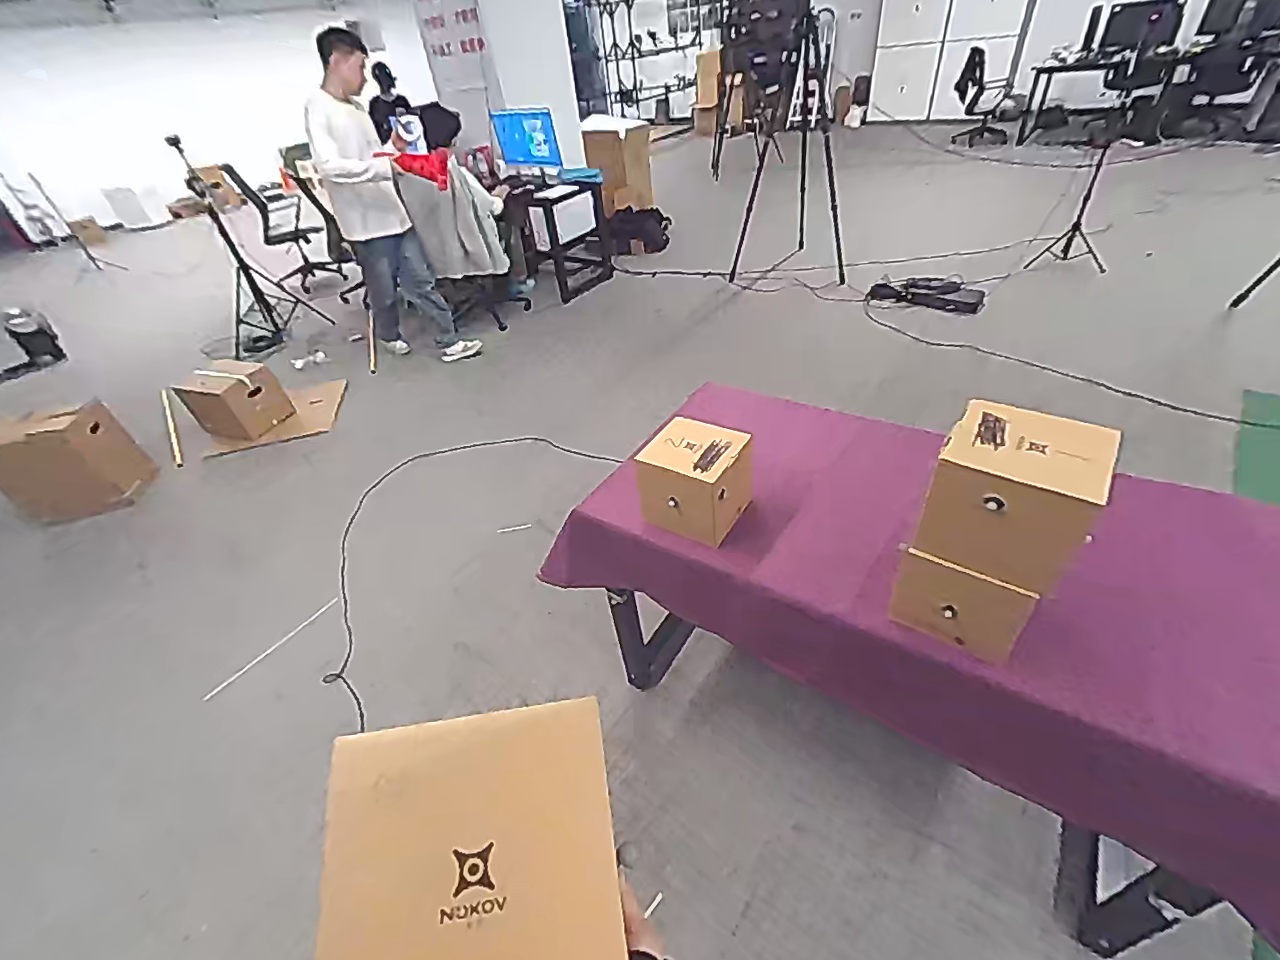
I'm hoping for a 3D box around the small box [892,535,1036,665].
[{"bbox_3d":[0.513,0.153,0.849,0.168,0.176,0.179,22,48,31],"label":"small box"}]

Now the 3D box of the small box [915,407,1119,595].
[{"bbox_3d":[0.504,0.027,0.742,0.179,0.176,0.168,23,49,31],"label":"small box"}]
